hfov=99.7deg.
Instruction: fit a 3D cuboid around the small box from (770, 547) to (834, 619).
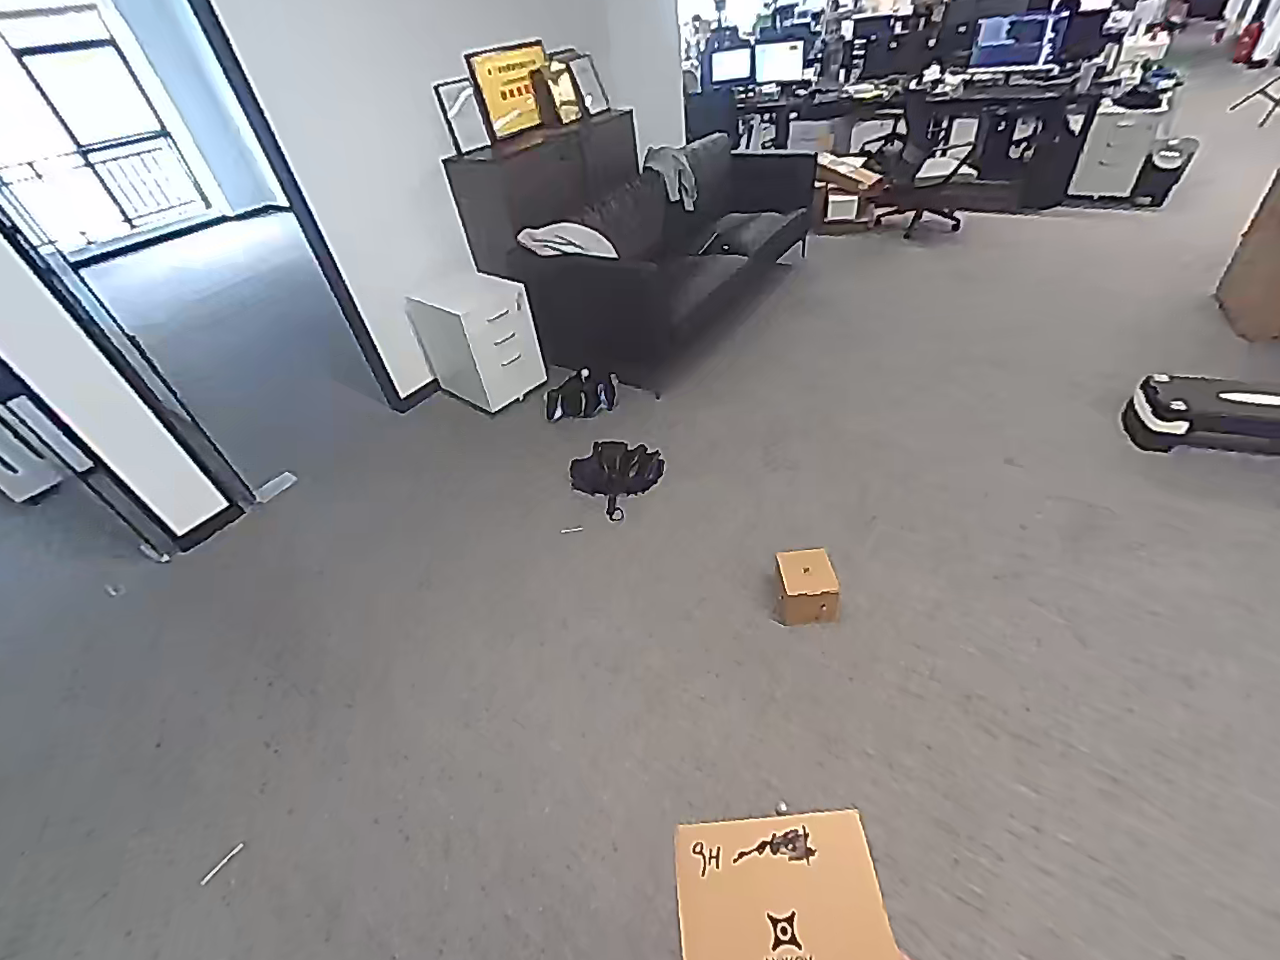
[{"bbox_3d":[0.535,0.351,1.806,0.168,0.176,0.179,-6,39,2],"label":"small box"}]
